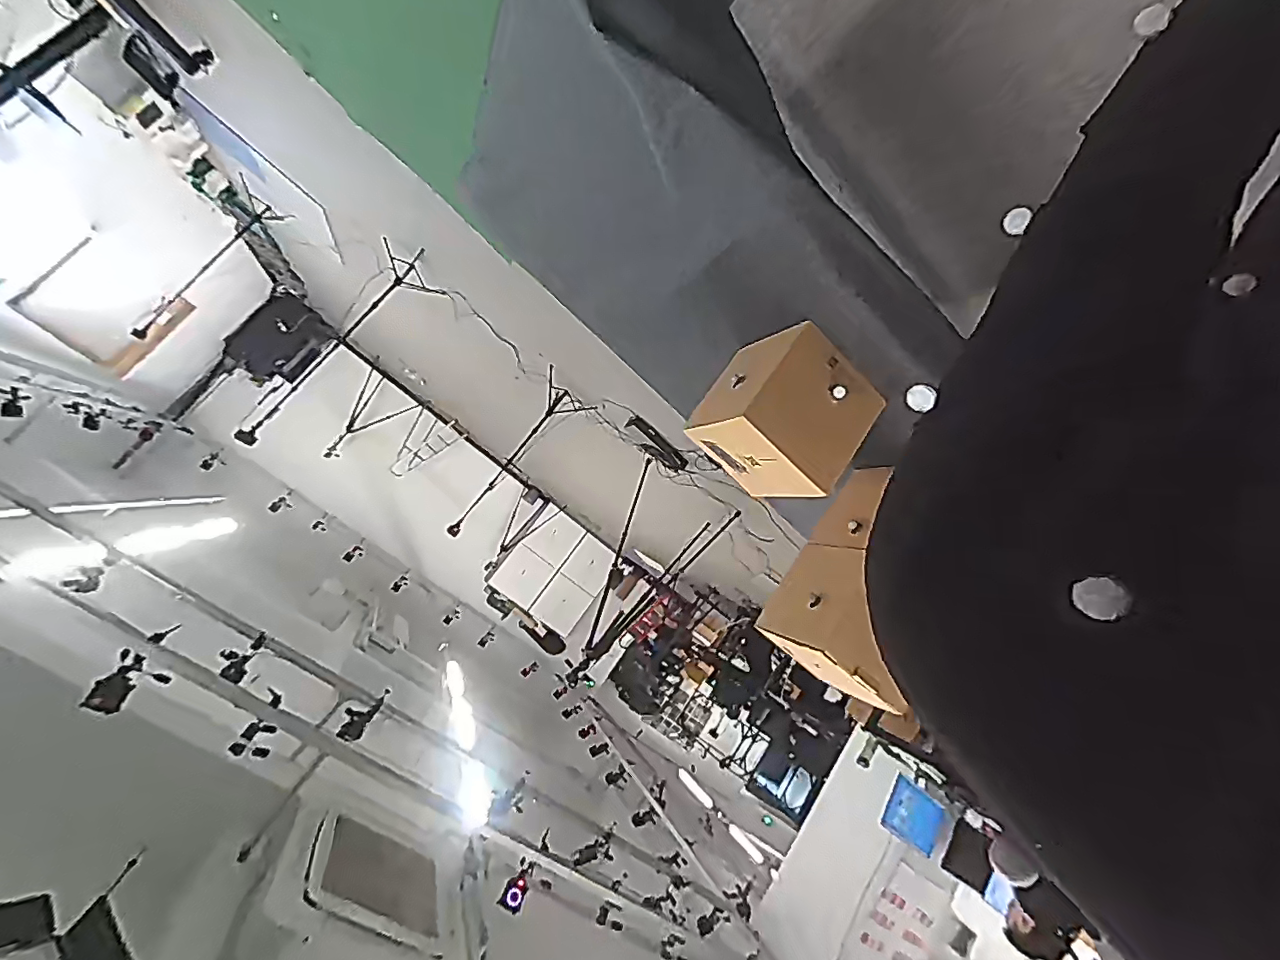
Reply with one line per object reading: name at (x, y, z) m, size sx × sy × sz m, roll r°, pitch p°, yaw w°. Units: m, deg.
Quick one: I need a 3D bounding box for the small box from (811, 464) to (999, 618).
small box at (0.421, 0.090, 0.866) m, size 0.168 × 0.176 × 0.179 m, roll 41°, pitch 165°, yaw -14°

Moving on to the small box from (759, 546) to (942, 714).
small box at (0.323, 0.214, 0.822) m, size 0.168 × 0.176 × 0.179 m, roll 40°, pitch 164°, yaw -13°

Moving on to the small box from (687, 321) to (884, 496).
small box at (0.205, -0.094, 0.772) m, size 0.168 × 0.176 × 0.179 m, roll 40°, pitch 166°, yaw -16°
